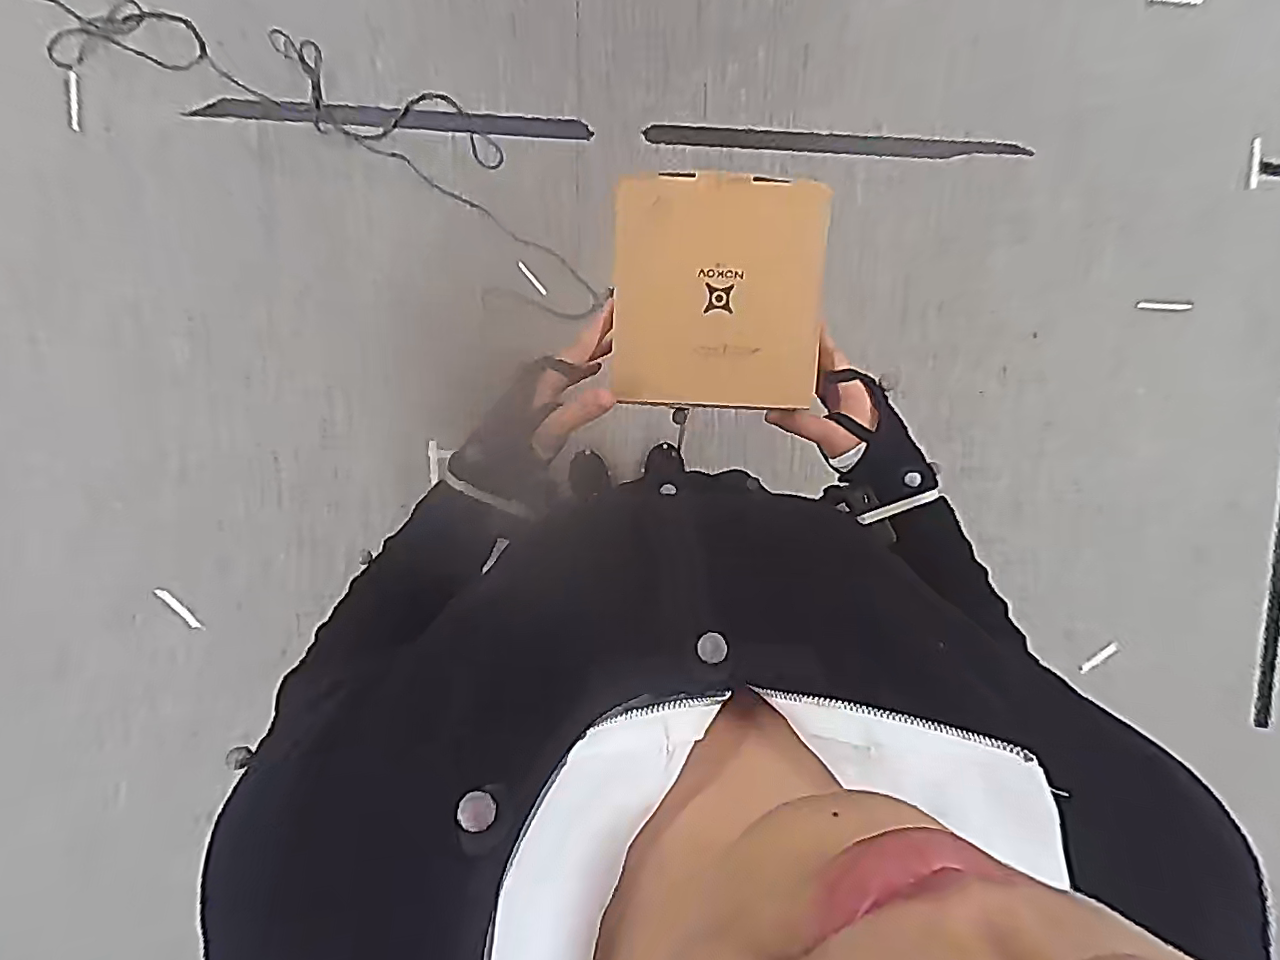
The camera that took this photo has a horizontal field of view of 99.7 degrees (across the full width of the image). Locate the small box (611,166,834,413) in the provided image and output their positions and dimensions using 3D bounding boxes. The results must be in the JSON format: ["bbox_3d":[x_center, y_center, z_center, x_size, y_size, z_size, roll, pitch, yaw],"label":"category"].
[{"bbox_3d":[0.060,-0.154,0.496,0.168,0.176,0.179,3,97,-2],"label":"small box"}]
